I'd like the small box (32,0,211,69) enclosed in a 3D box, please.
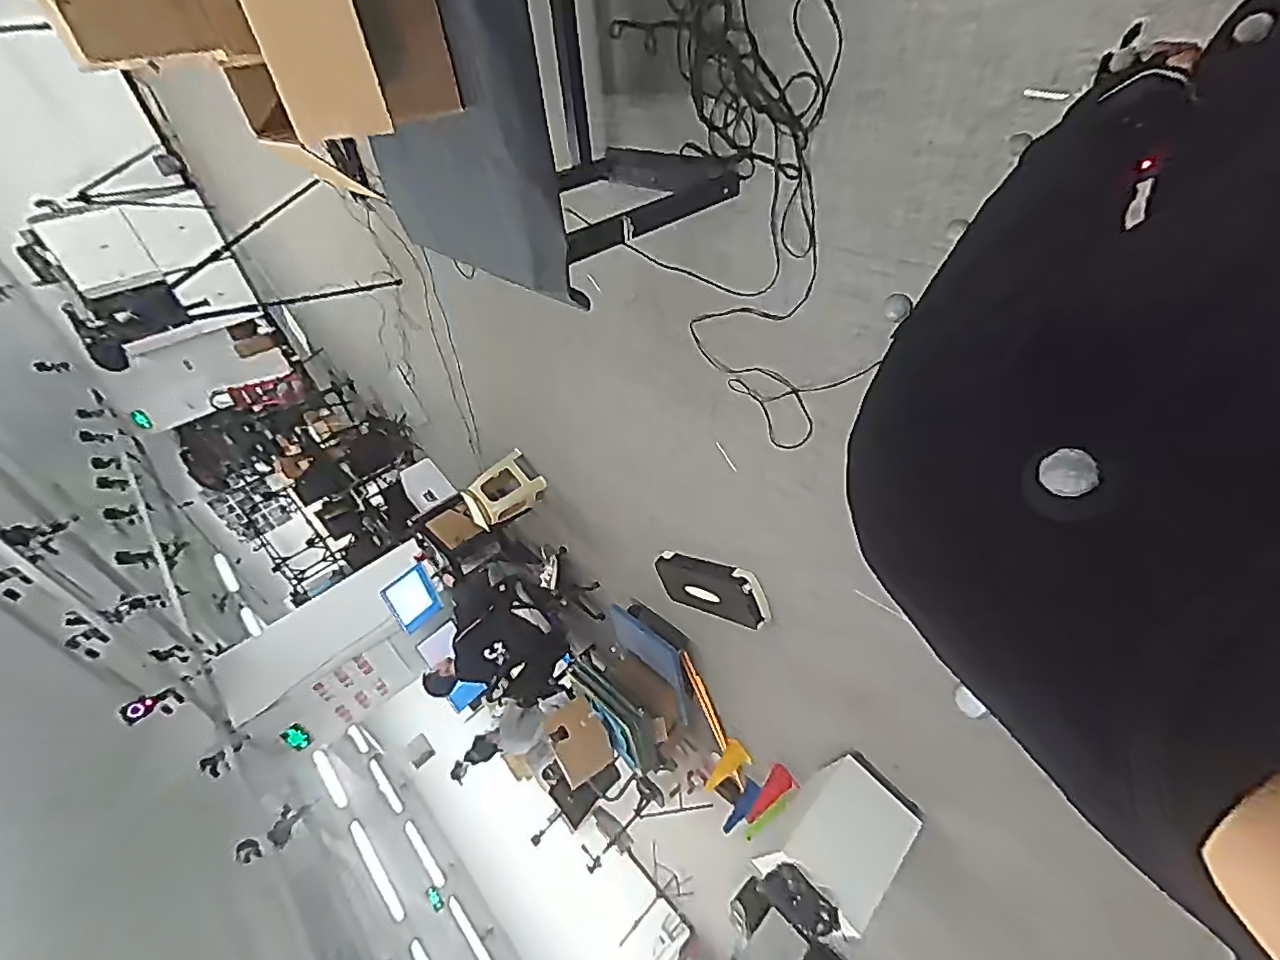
[{"bbox_3d":[-0.750,-0.697,0.759,0.179,0.176,0.168,29,141,39],"label":"small box"}]
